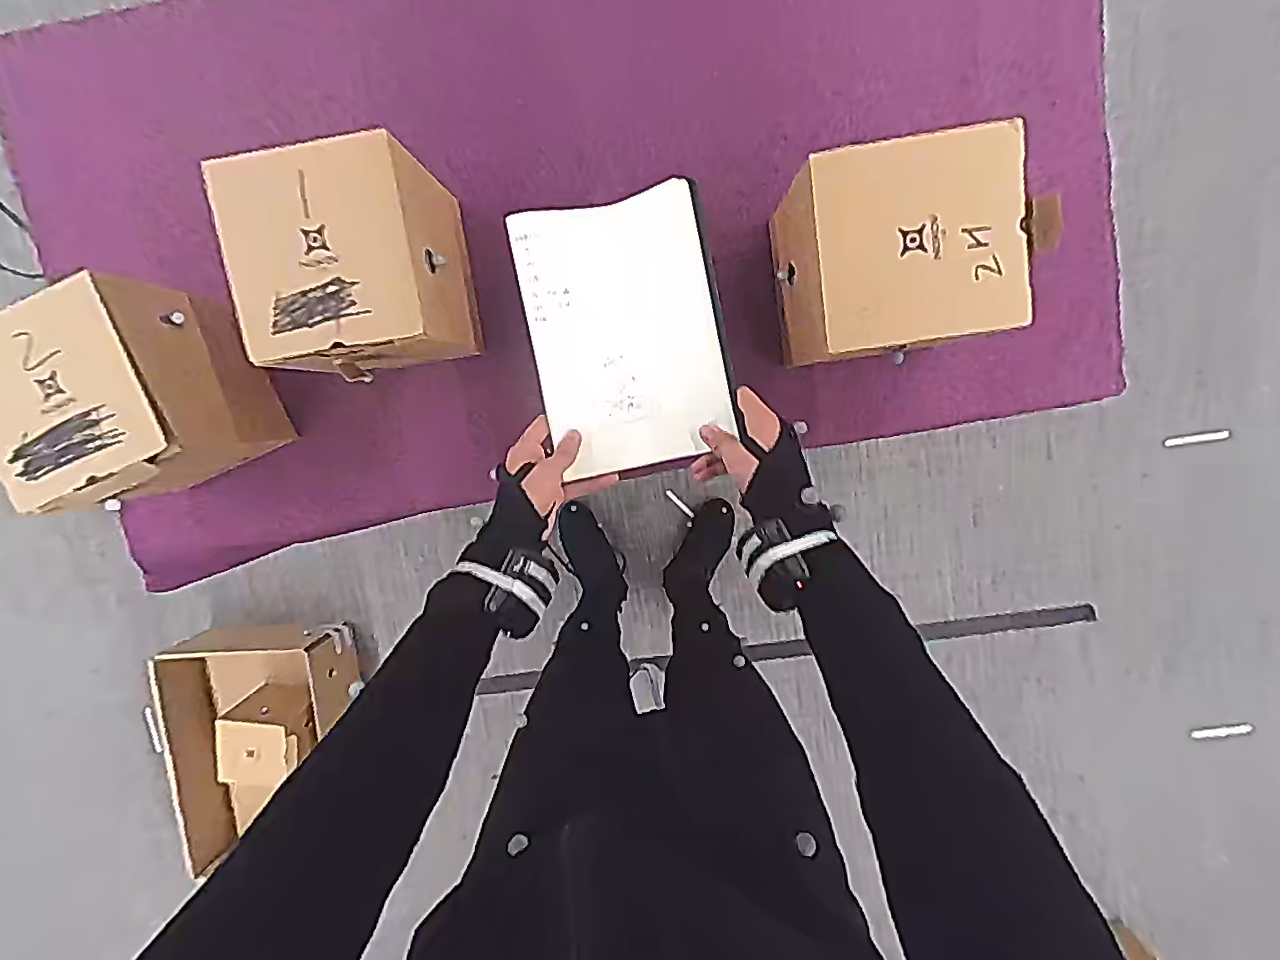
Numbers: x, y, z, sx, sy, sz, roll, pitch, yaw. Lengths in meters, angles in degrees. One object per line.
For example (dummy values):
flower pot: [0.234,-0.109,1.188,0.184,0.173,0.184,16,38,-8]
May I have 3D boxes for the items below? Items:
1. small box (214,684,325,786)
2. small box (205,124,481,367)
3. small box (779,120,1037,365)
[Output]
small box: [-0.929,0.638,1.370,0.179,0.176,0.168,5,98,1]
small box: [-0.274,-0.212,0.543,0.168,0.176,0.179,-8,97,3]
small box: [0.239,-0.209,0.525,0.179,0.176,0.168,-7,98,3]
